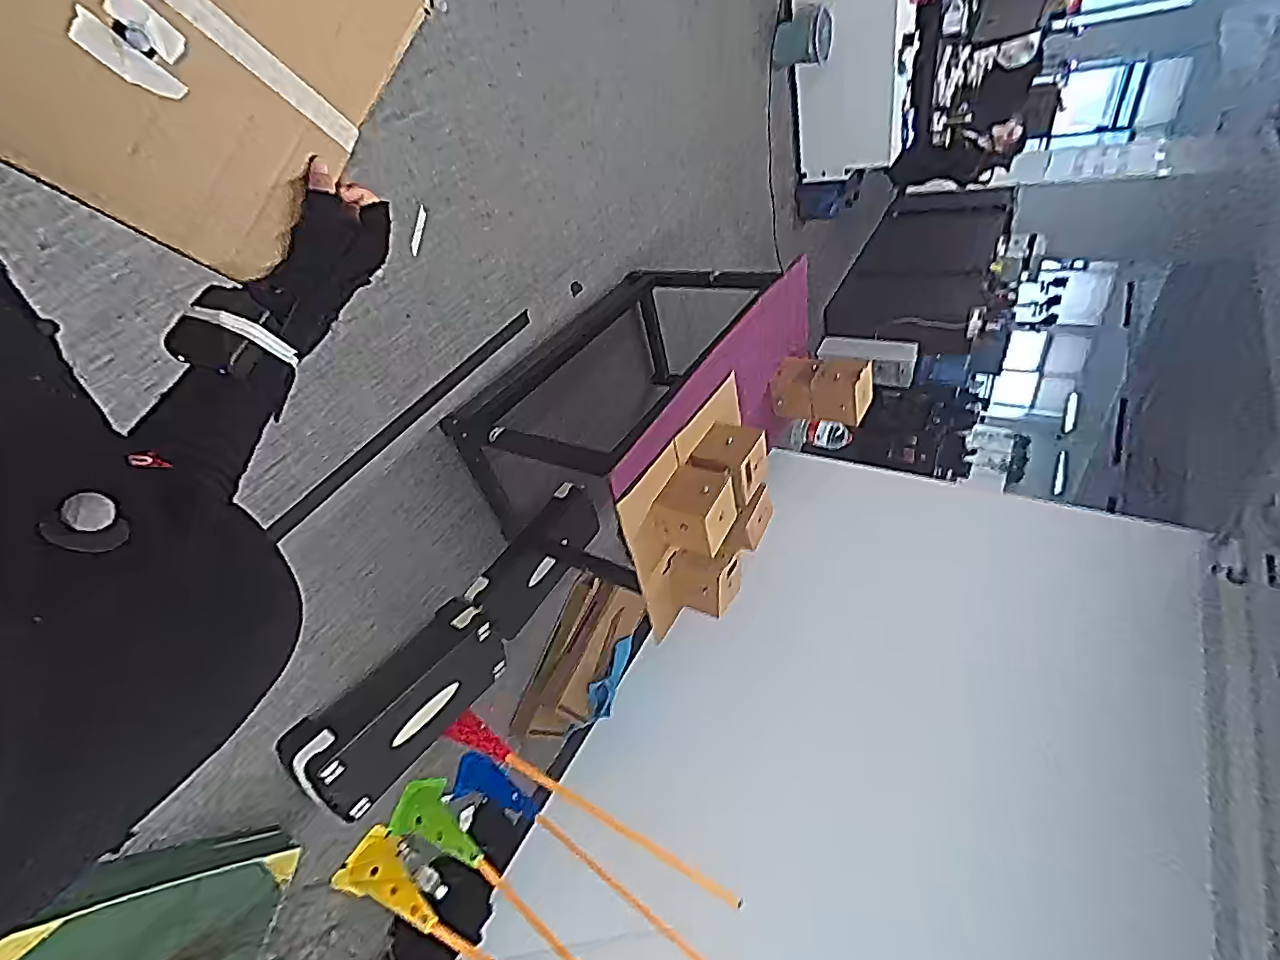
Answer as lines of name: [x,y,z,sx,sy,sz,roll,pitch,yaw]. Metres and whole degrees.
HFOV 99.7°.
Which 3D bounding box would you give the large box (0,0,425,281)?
large box: [-0.468,-0.418,0.406,0.320,0.320,0.408,-61,147,0]
